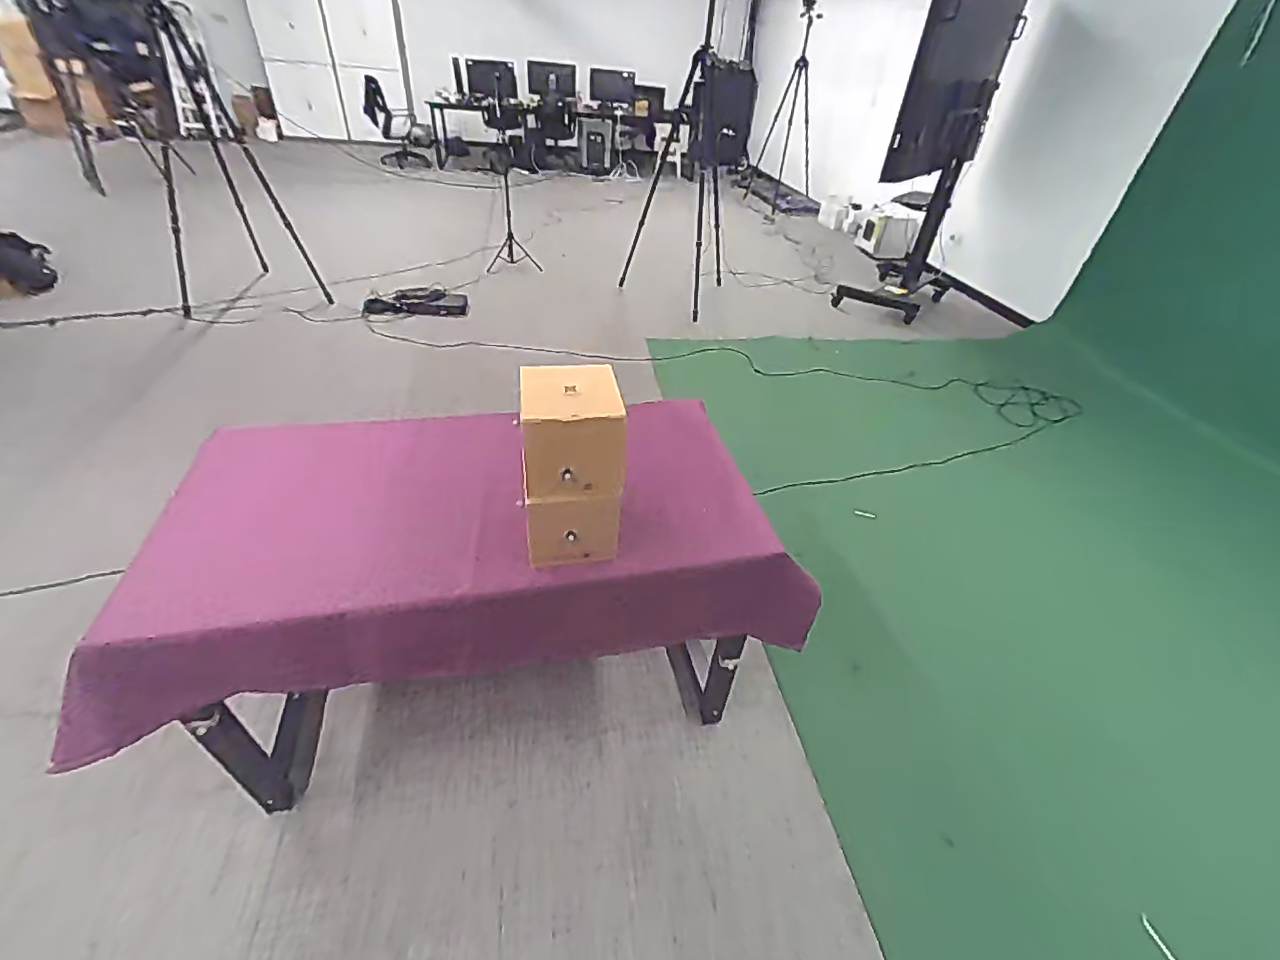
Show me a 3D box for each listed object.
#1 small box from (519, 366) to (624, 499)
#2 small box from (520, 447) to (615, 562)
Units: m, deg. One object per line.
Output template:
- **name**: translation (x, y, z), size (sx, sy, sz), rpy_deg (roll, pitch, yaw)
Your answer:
- **small box**: translation (-0.127, -0.086, 0.955), size (0.168, 0.176, 0.179), rpy_deg (-4, 41, -12)
- **small box**: translation (-0.142, 0.045, 1.051), size (0.168, 0.176, 0.179), rpy_deg (-4, 40, -12)
